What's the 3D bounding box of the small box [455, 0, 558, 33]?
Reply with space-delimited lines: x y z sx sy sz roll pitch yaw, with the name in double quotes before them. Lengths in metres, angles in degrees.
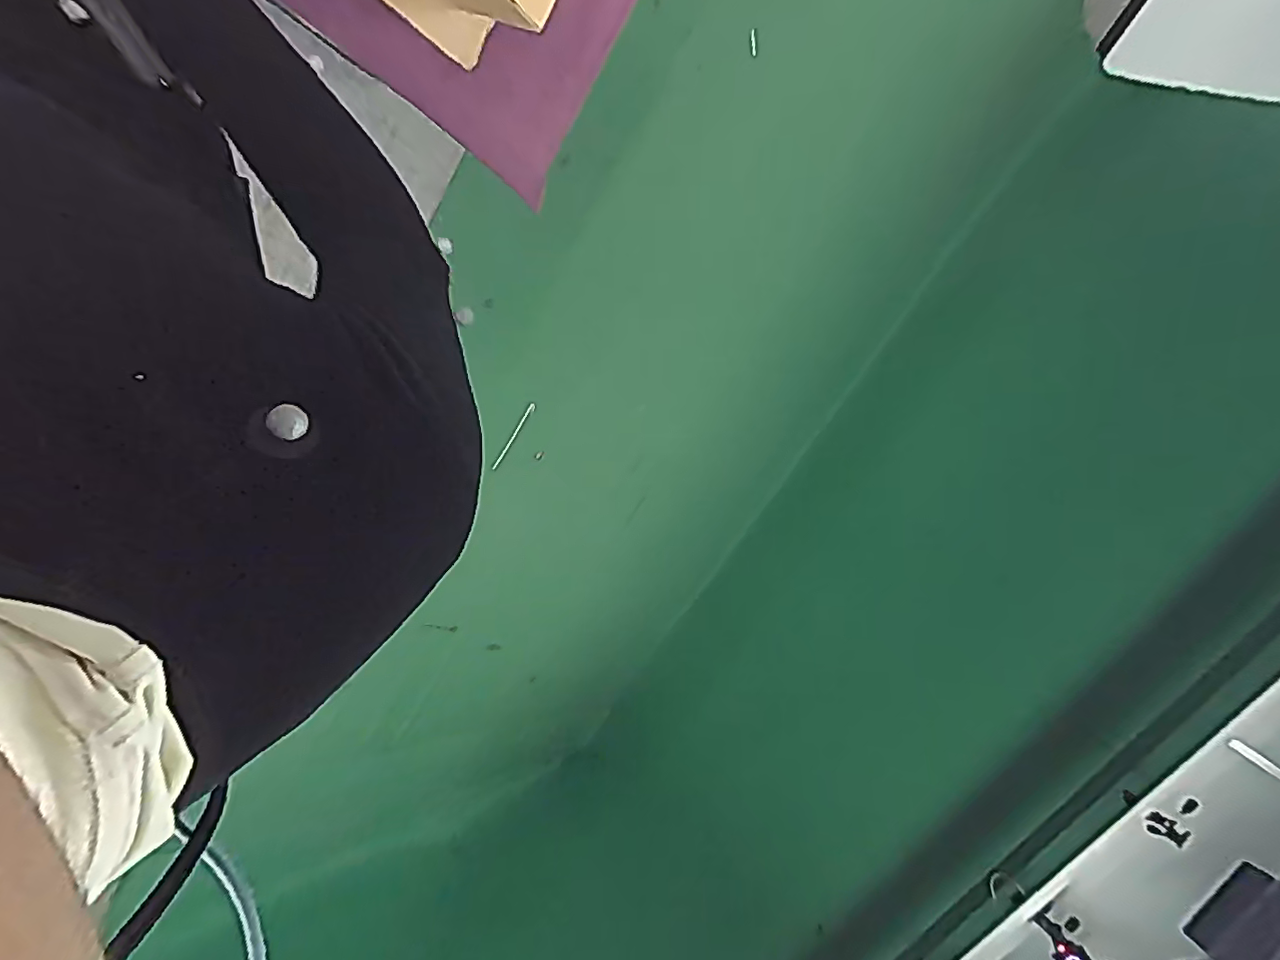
"small box" -0.143 -0.527 0.439 0.168 0.176 0.179 7 121 -55
